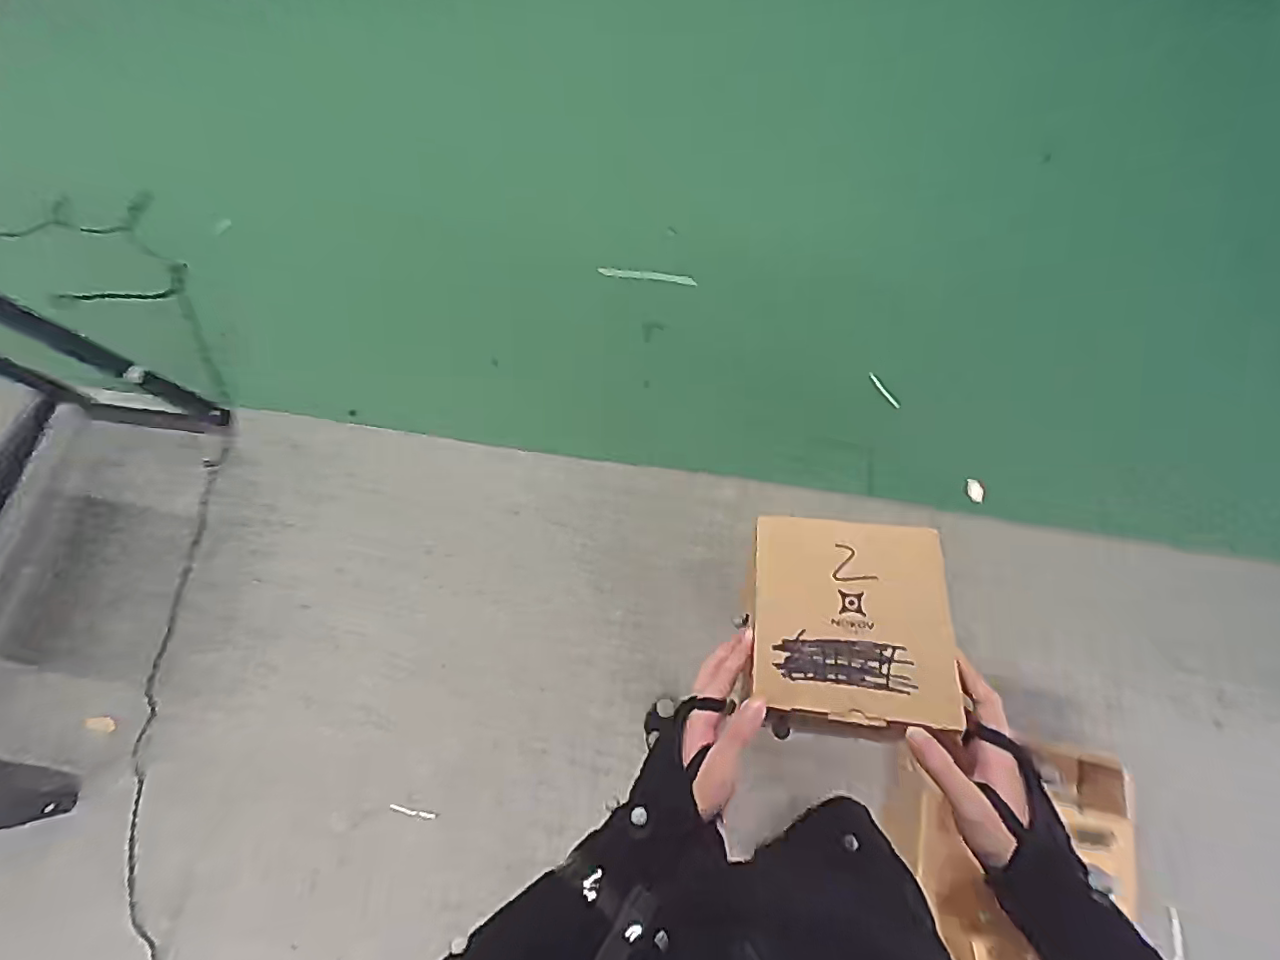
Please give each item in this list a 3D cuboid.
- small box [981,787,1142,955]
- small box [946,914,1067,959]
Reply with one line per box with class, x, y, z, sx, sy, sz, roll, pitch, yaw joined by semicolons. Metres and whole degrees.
small box;0.747;0.685;0.975;0.168;0.176;0.179;14;75;9
small box;0.727;0.980;1.054;0.179;0.176;0.168;-5;71;4
